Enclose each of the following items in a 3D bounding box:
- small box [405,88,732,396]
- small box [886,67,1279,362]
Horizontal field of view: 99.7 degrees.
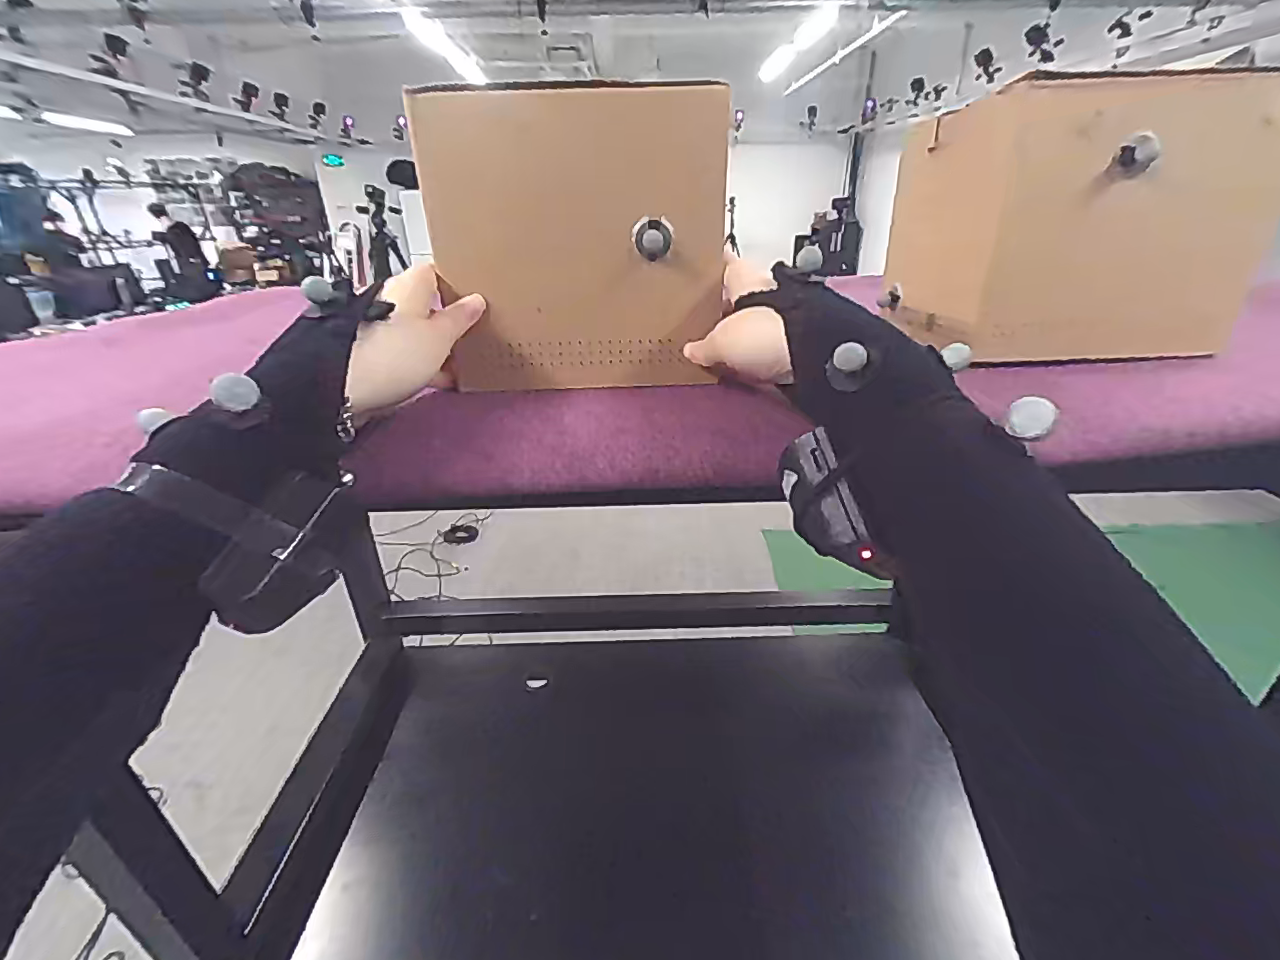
[{"bbox_3d":[-0.038,-0.166,0.392,0.179,0.176,0.168,-3,27,-1],"label":"small box"},{"bbox_3d":[0.309,-0.189,0.416,0.179,0.176,0.168,-1,25,1],"label":"small box"}]
